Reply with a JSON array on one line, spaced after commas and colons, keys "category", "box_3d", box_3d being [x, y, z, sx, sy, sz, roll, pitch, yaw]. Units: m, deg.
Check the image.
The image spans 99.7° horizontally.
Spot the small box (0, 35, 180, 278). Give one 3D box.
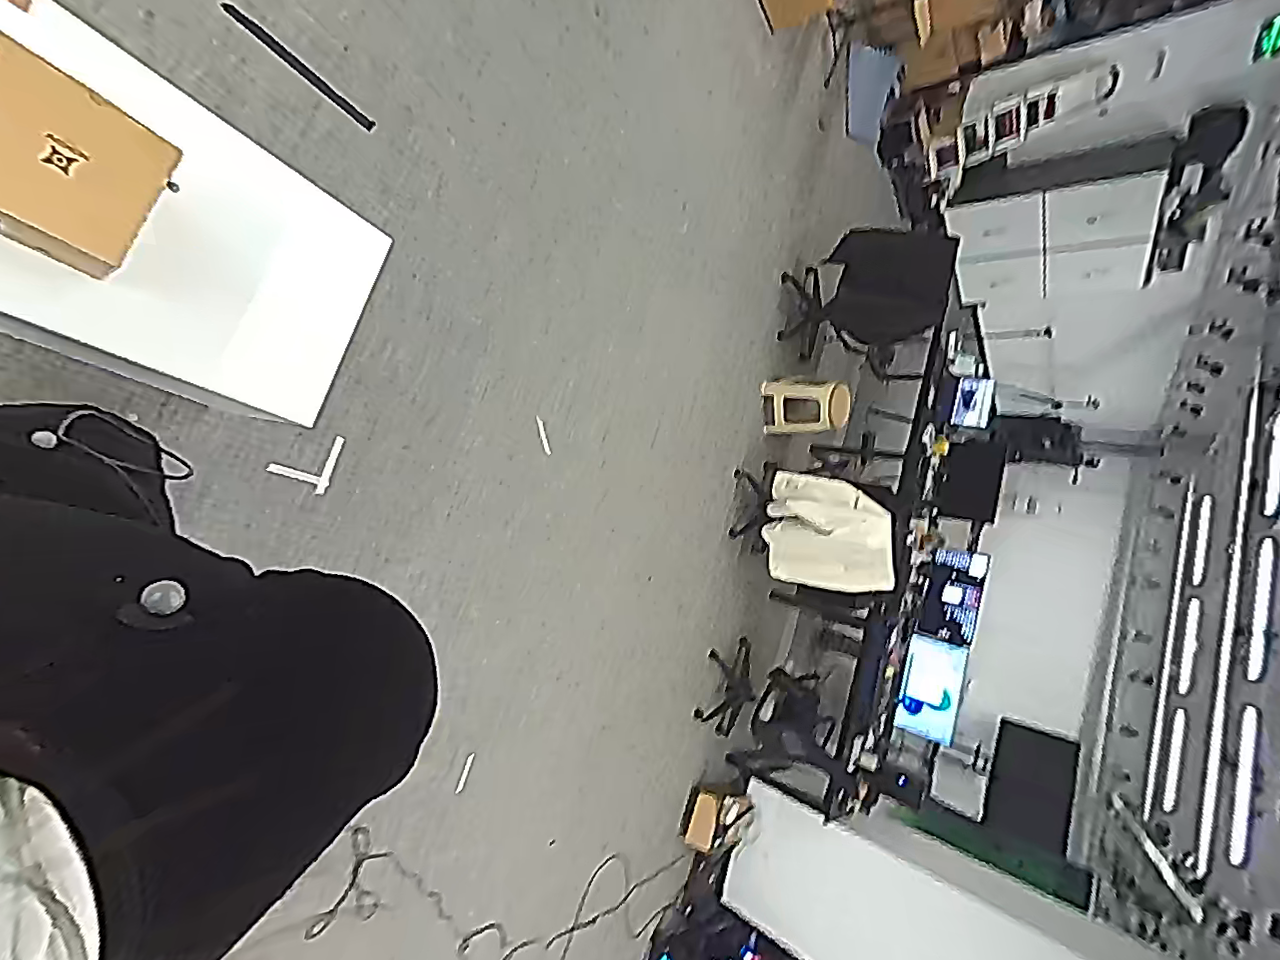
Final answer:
[{"category": "small box", "box_3d": [-0.713, -0.370, 0.658, 0.168, 0.176, 0.179, 30, 73, -49]}]
